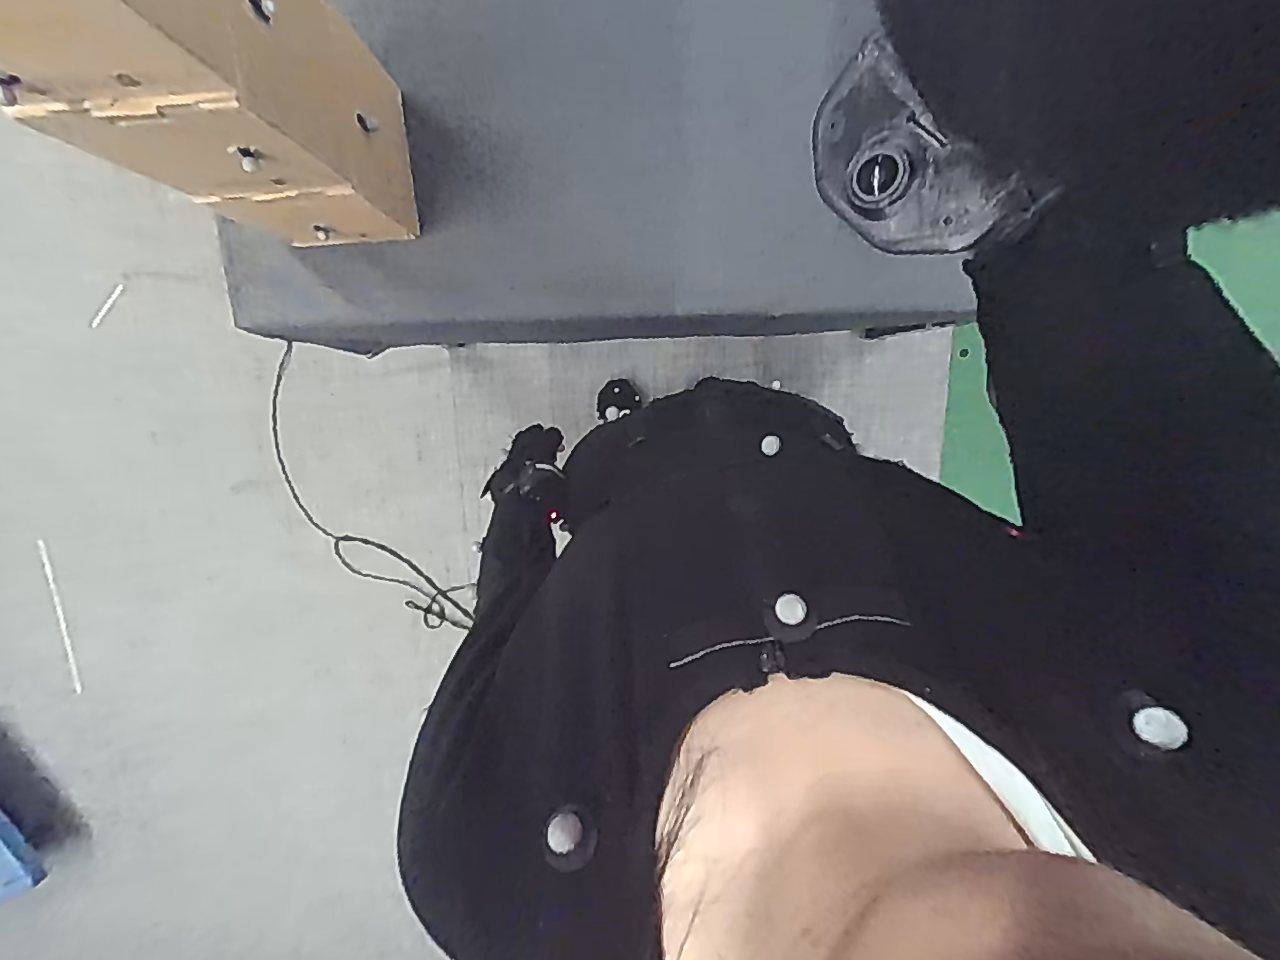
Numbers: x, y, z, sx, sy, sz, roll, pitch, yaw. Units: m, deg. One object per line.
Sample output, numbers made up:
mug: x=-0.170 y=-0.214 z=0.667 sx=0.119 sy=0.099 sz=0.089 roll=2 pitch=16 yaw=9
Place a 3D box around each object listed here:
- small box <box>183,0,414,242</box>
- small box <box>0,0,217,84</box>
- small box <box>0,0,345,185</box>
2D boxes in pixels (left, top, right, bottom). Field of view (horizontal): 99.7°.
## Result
small box: x=-0.370 y=-0.380 z=0.596 sx=0.168 sy=0.176 sz=0.179 roll=-4 pitch=101 yaw=0
small box: x=-0.362 y=-0.333 z=0.273 sx=0.168 sy=0.176 sz=0.179 roll=-4 pitch=100 yaw=-1
small box: x=-0.365 y=-0.355 z=0.435 sx=0.168 sy=0.176 sz=0.179 roll=-3 pitch=100 yaw=-1
